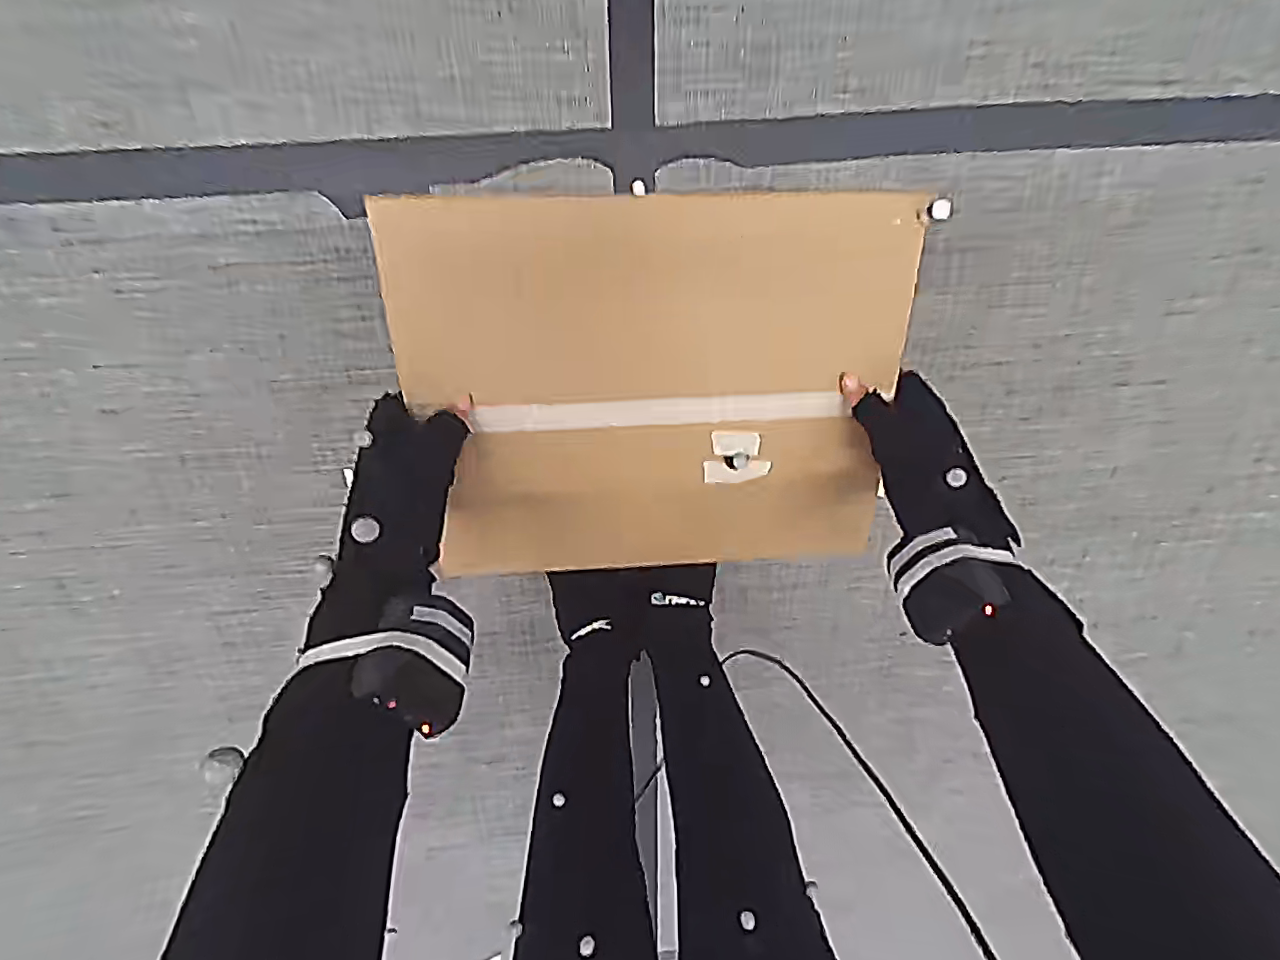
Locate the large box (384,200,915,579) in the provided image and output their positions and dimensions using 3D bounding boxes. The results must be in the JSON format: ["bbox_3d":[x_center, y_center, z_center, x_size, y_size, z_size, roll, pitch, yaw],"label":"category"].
[{"bbox_3d":[0.003,-0.120,0.593,0.408,0.320,0.320,-4,116,-4],"label":"large box"}]
